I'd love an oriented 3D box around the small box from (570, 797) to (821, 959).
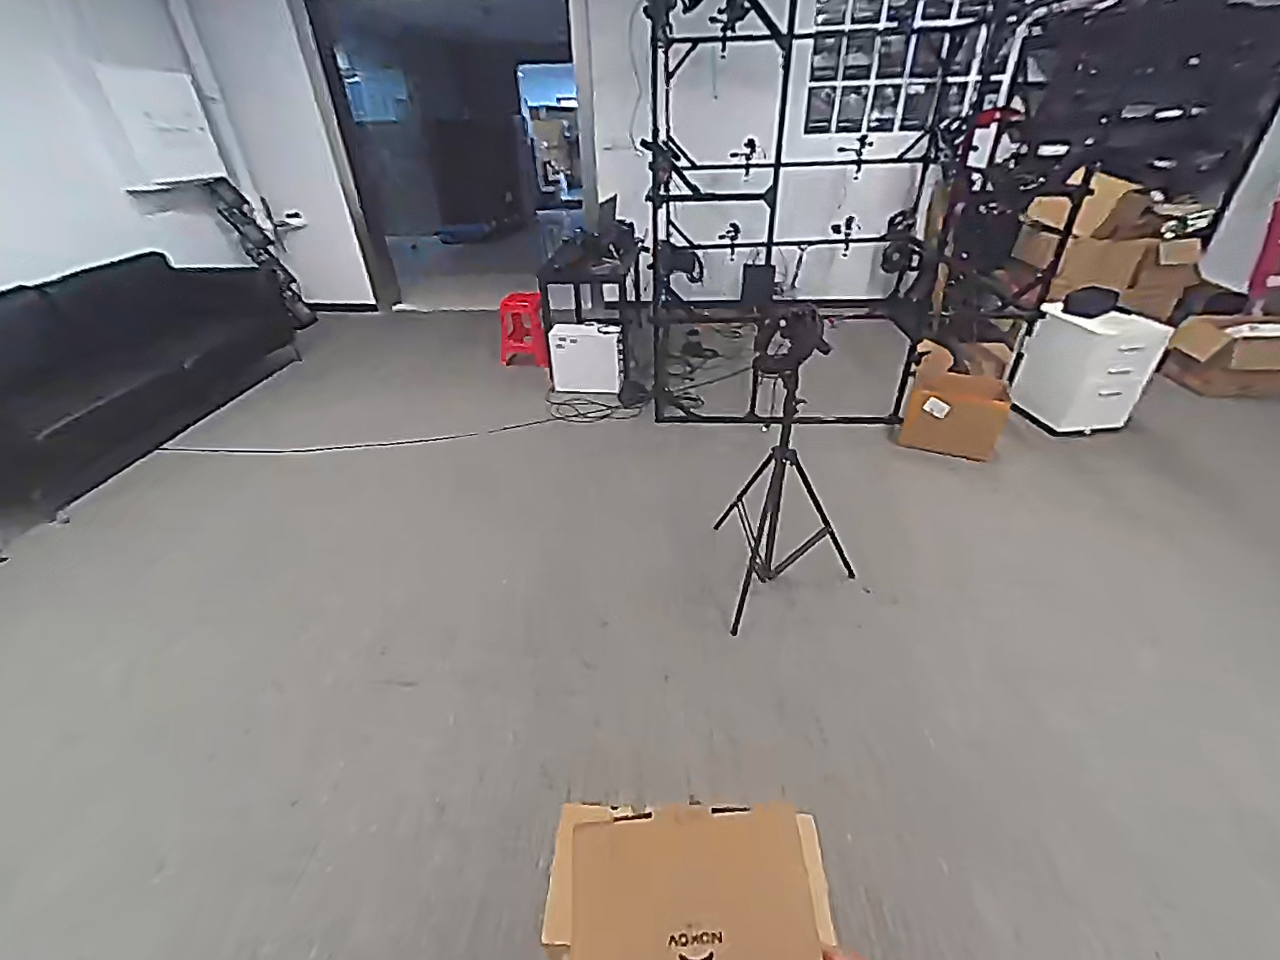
[{"bbox_3d":[0.038,0.356,0.415,0.168,0.176,0.179,-4,55,1],"label":"small box"}]
